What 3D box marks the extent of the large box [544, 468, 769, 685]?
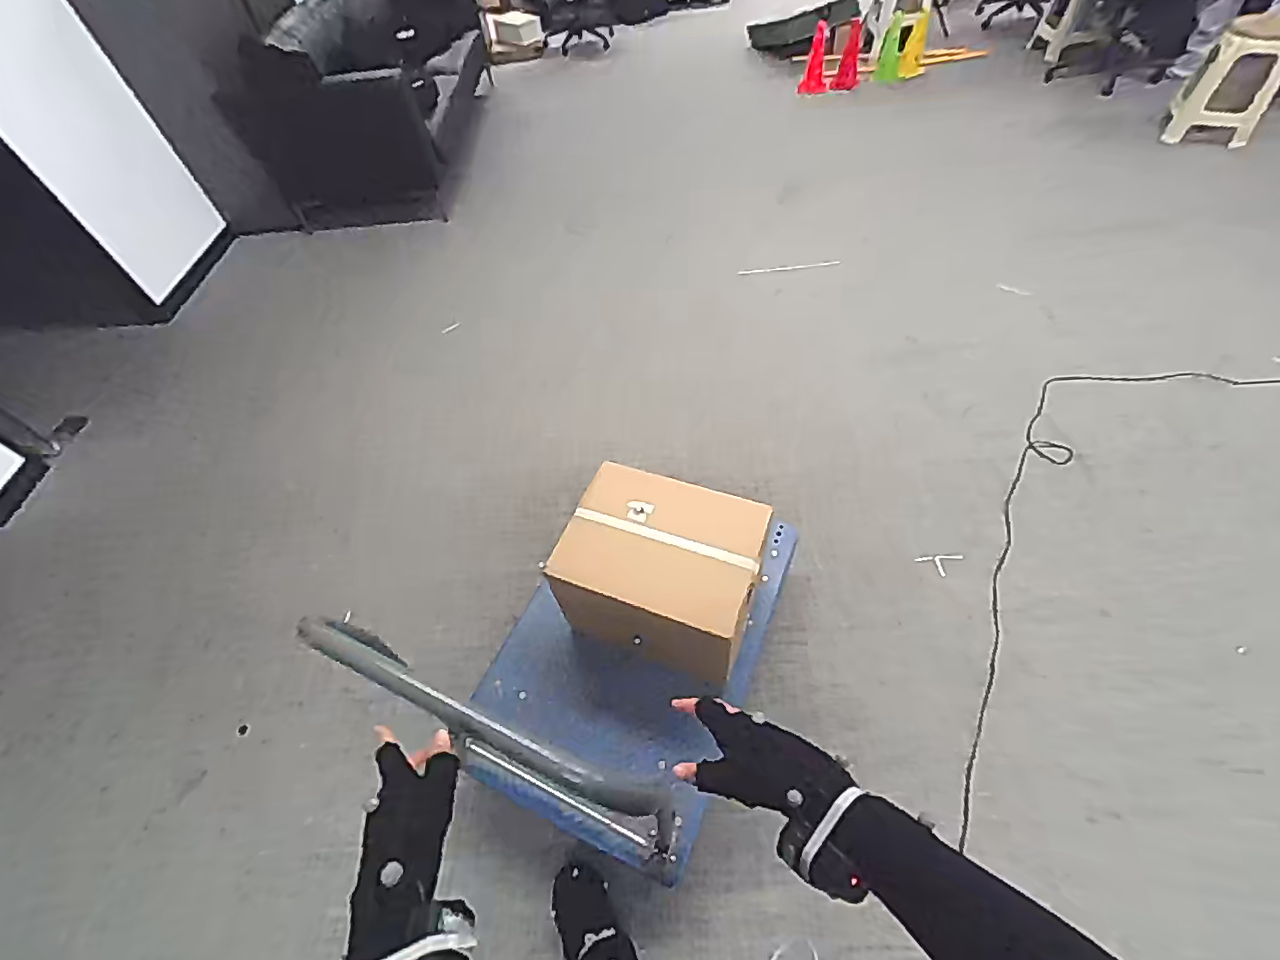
[{"bbox_3d":[0.058,0.221,1.249,0.408,0.320,0.320,15,55,19],"label":"large box"}]
